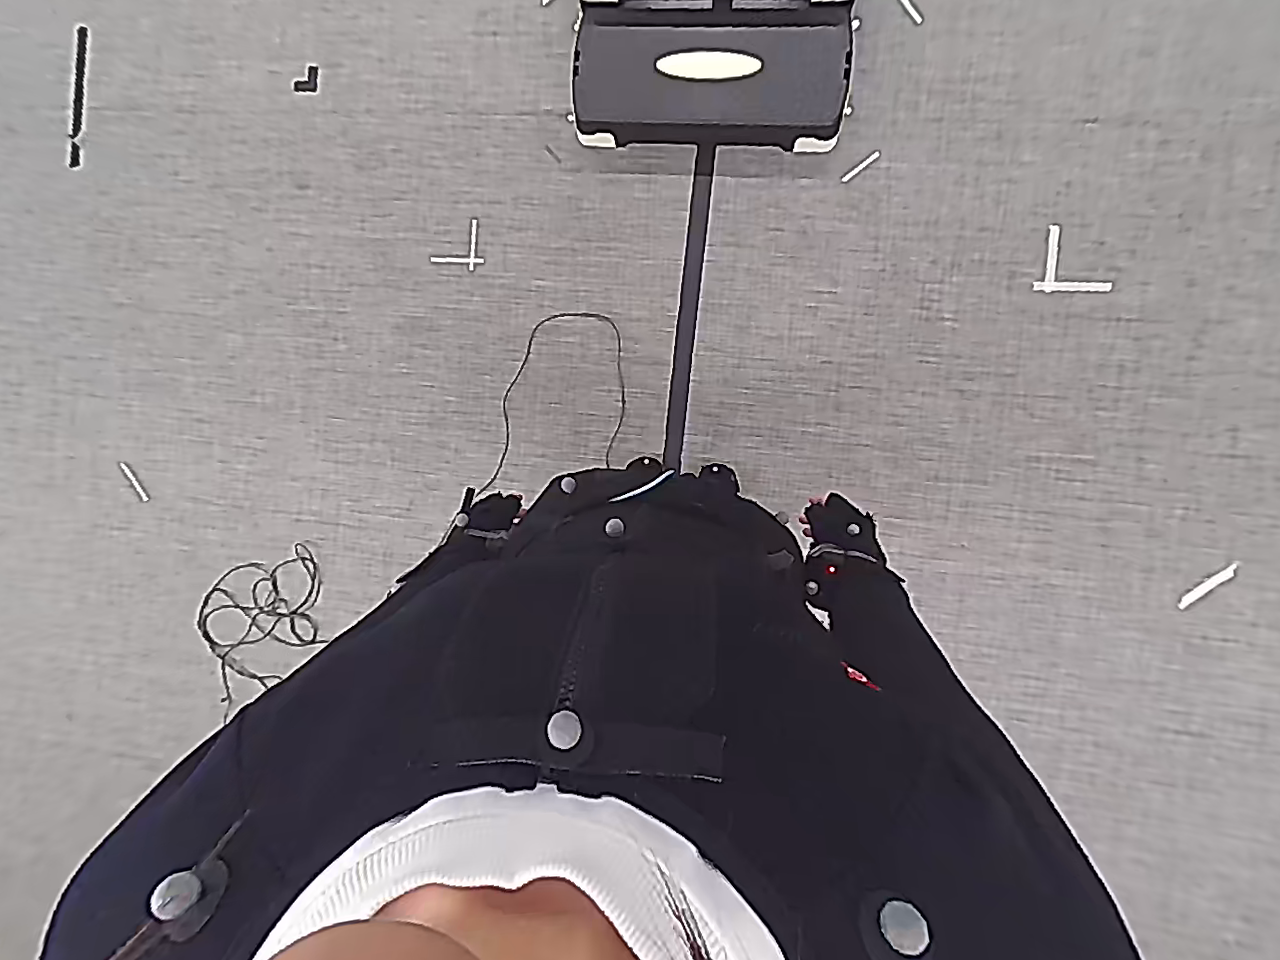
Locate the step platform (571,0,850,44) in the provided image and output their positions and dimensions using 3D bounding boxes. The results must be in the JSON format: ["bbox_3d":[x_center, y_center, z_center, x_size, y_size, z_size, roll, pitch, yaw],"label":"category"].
[{"bbox_3d":[0.168,-1.245,1.272,0.684,0.204,0.286,4,94,6],"label":"step platform"}]
